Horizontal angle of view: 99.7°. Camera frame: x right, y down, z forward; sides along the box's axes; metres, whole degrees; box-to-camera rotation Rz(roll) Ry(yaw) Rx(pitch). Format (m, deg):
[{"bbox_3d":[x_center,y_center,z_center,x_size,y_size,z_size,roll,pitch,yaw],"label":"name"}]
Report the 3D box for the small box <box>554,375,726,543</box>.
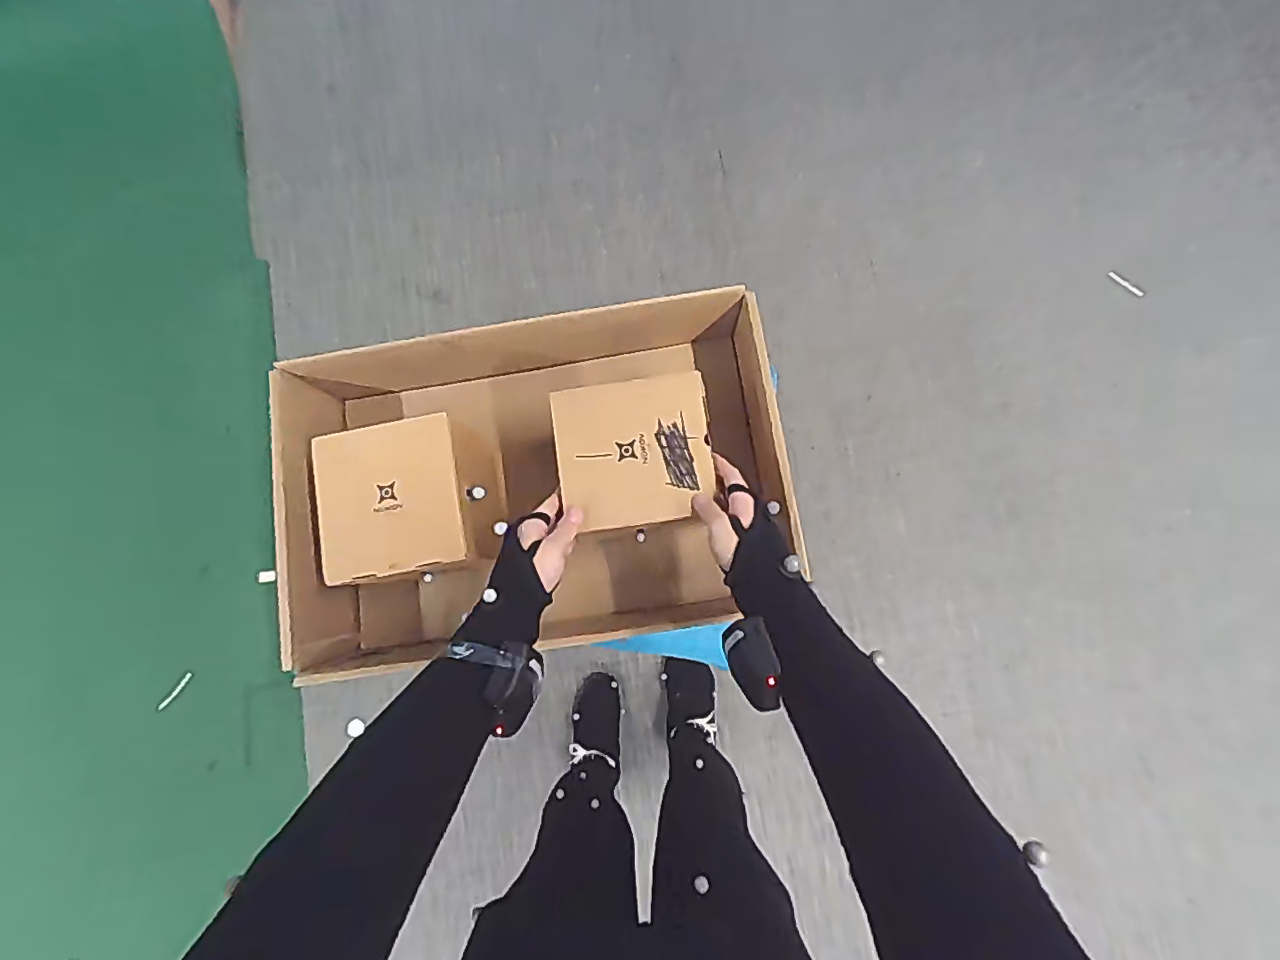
[{"bbox_3d":[-0.001,-0.016,0.679,0.179,0.176,0.168,-9,80,1],"label":"small box"}]
